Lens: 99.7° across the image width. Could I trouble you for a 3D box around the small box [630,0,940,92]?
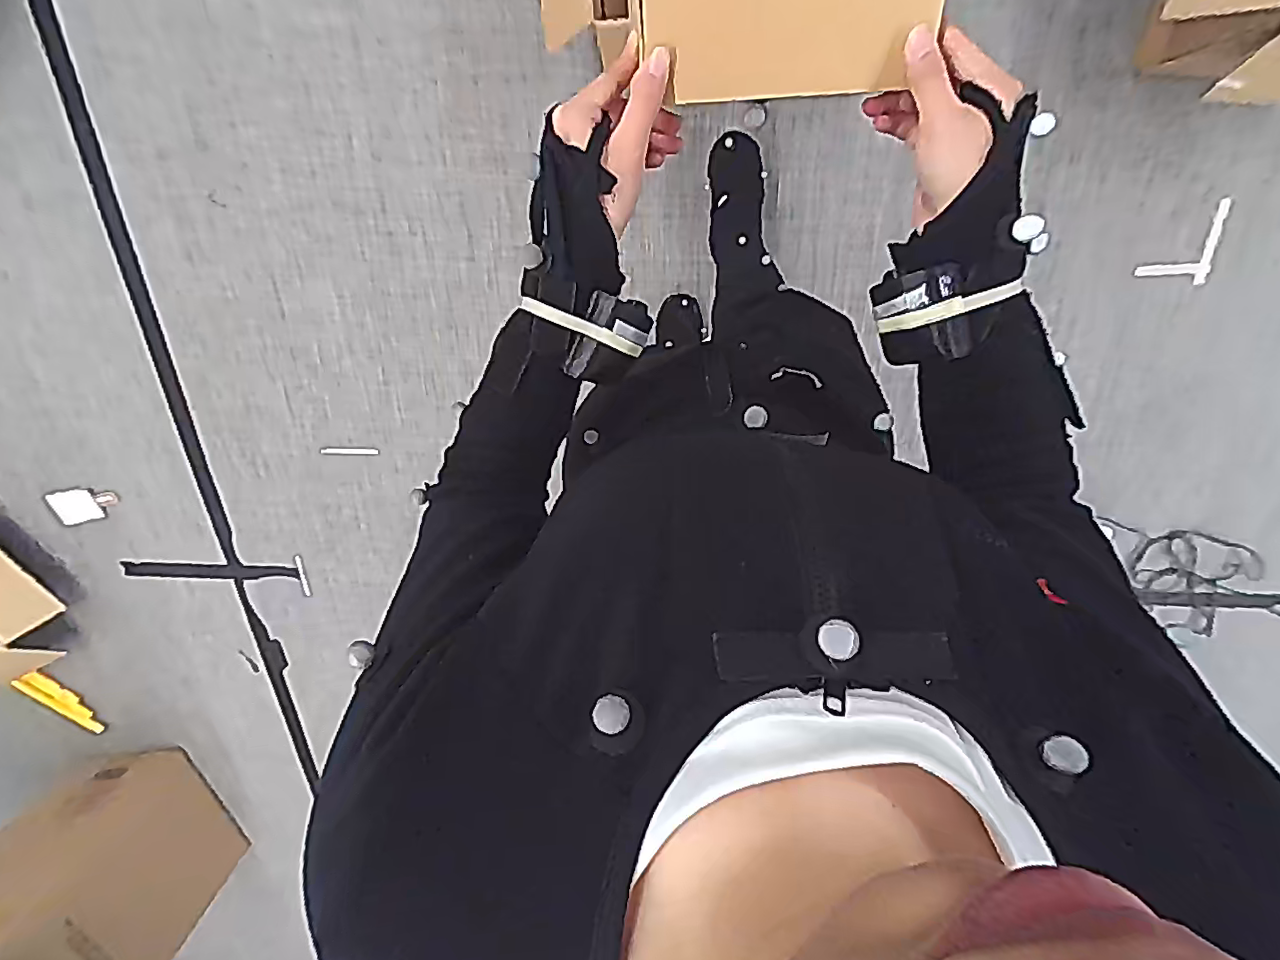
[{"bbox_3d":[0.081,-0.355,0.345,0.179,0.176,0.168,-3,126,1],"label":"small box"}]
